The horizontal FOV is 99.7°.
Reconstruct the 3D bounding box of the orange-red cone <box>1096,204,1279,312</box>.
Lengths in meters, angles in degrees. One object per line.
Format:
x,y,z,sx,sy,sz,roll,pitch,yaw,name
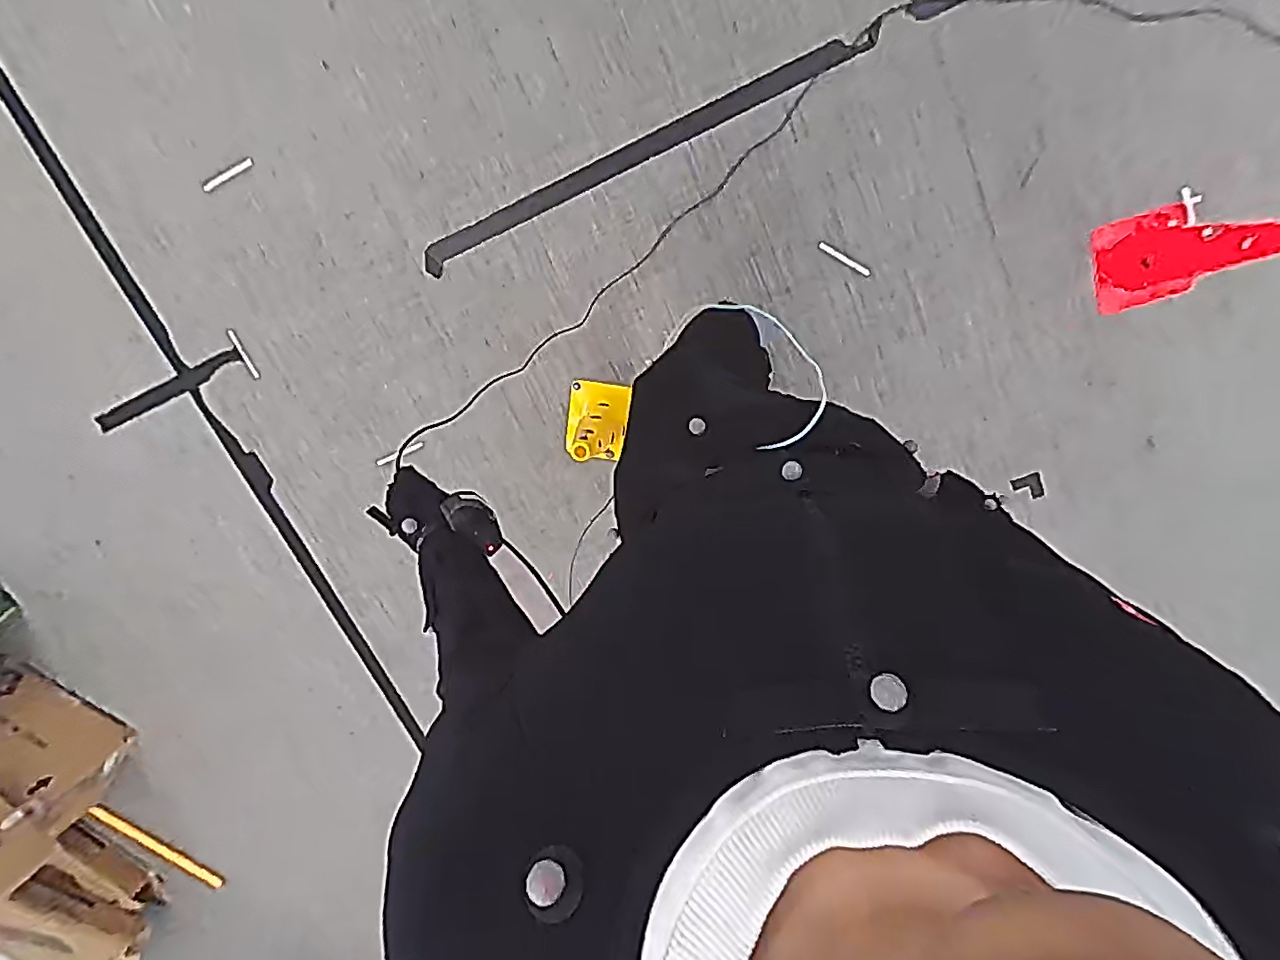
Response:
1.128,-0.456,1.060,0.199,0.360,0.198,-14,103,10,orange-red cone
